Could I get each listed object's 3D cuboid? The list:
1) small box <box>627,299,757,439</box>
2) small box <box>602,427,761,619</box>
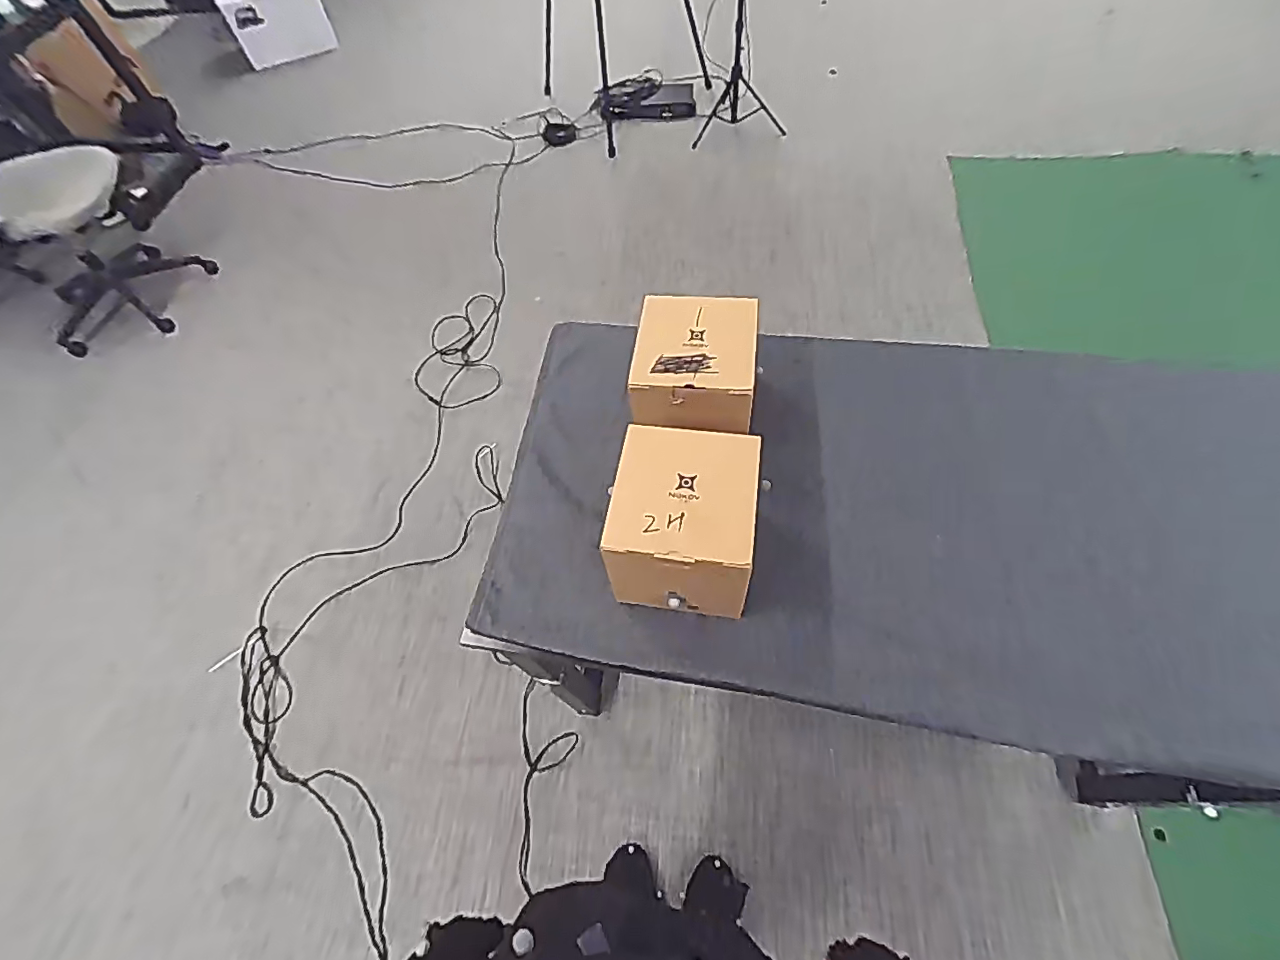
[{"bbox_3d":[0.082,-0.145,0.809,0.168,0.176,0.179,5,59,8],"label":"small box"},{"bbox_3d":[0.057,0.057,0.688,0.168,0.176,0.179,6,59,9],"label":"small box"}]
